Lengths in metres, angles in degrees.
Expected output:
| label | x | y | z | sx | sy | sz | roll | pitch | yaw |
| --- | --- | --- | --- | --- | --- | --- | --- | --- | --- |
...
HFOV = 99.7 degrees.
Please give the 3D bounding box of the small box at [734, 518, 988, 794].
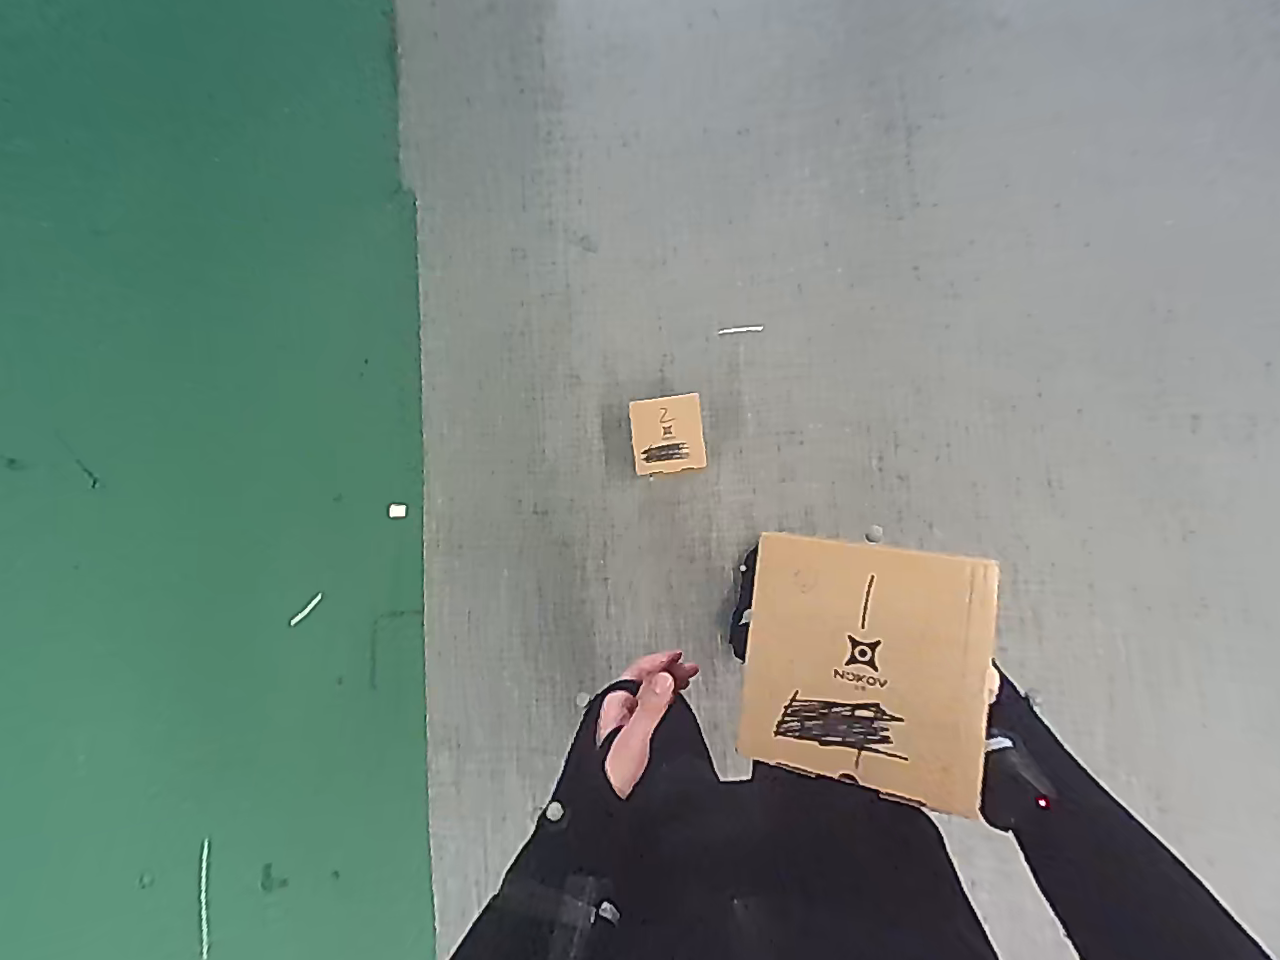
| label | x | y | z | sx | sy | sz | roll | pitch | yaw |
| --- | --- | --- | --- | --- | --- | --- | --- | --- | --- |
| small box | 0.188 | 0.131 | 0.478 | 0.168 | 0.176 | 0.179 | 5 | 86 | 21 |
